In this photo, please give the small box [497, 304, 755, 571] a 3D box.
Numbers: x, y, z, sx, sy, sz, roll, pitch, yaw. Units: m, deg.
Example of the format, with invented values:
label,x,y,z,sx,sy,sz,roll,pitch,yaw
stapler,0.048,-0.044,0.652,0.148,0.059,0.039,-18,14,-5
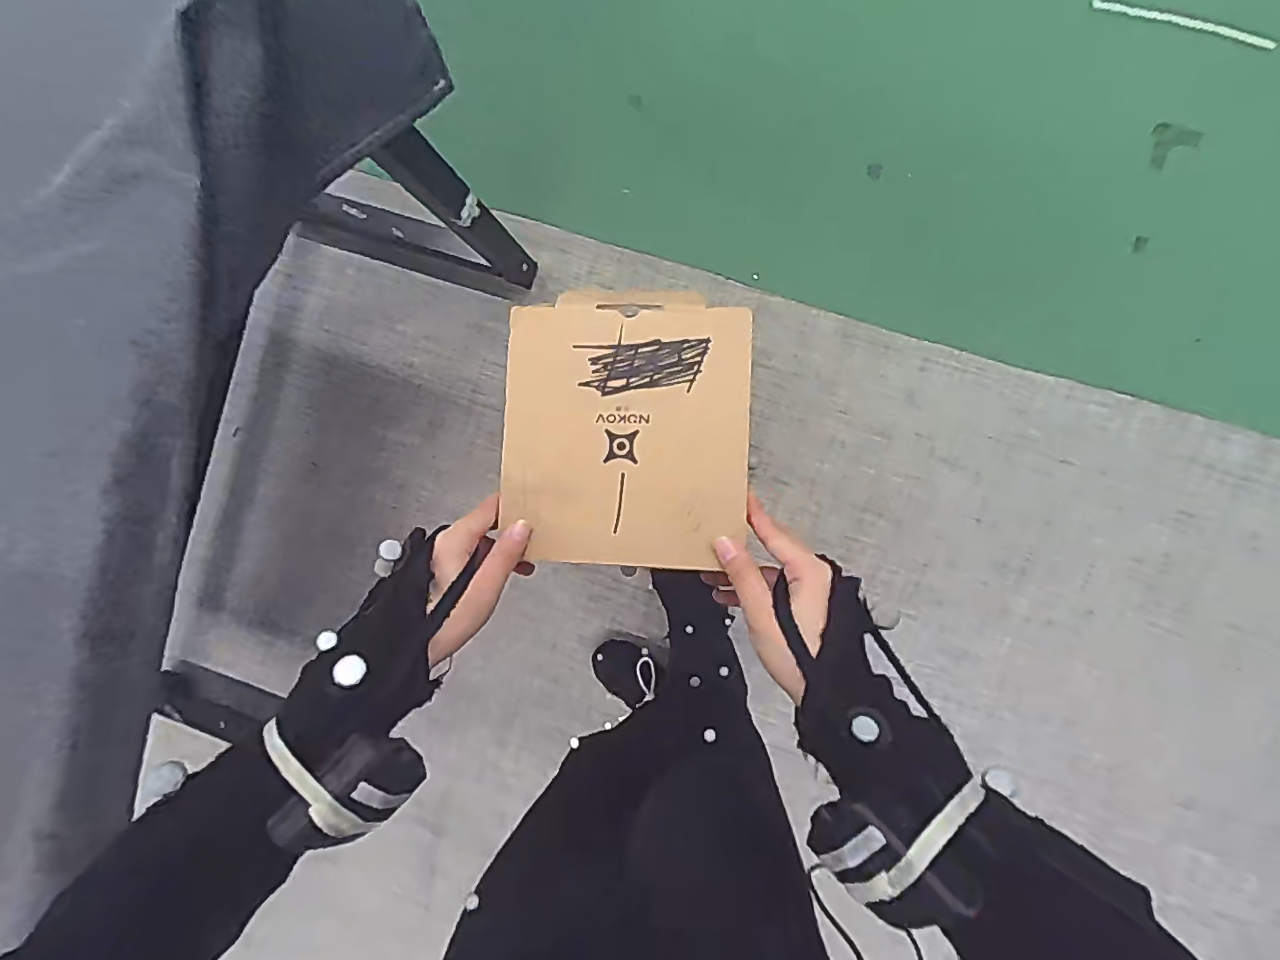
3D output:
label,x,y,z,sx,sy,sz,roll,pitch,yaw
small box,-0.002,-0.025,0.437,0.168,0.176,0.179,2,86,6
